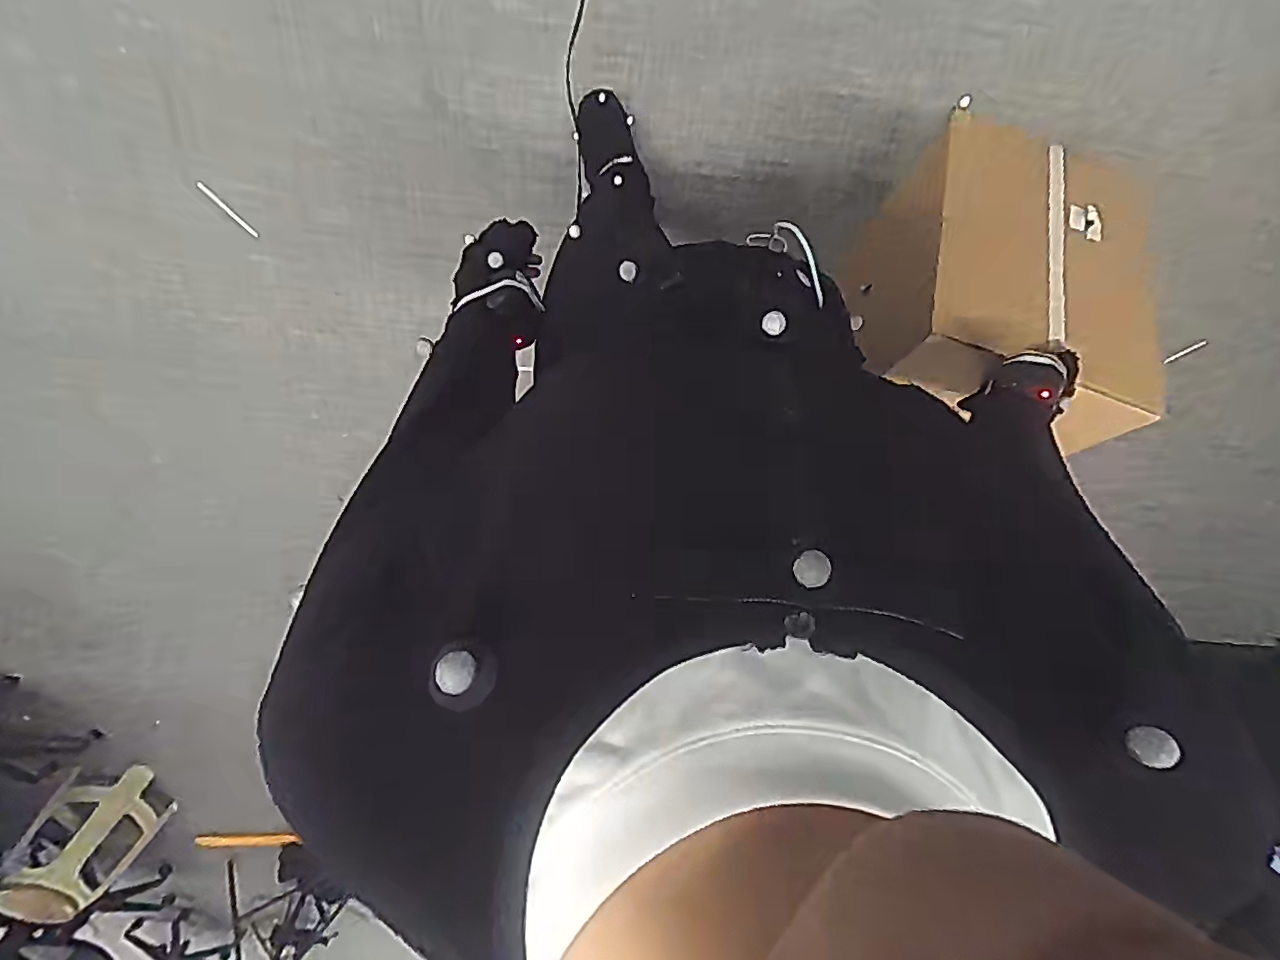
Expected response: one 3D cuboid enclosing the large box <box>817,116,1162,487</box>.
[{"bbox_3d":[0.510,-0.250,0.851,0.320,0.408,0.320,18,159,-5],"label":"large box"}]
